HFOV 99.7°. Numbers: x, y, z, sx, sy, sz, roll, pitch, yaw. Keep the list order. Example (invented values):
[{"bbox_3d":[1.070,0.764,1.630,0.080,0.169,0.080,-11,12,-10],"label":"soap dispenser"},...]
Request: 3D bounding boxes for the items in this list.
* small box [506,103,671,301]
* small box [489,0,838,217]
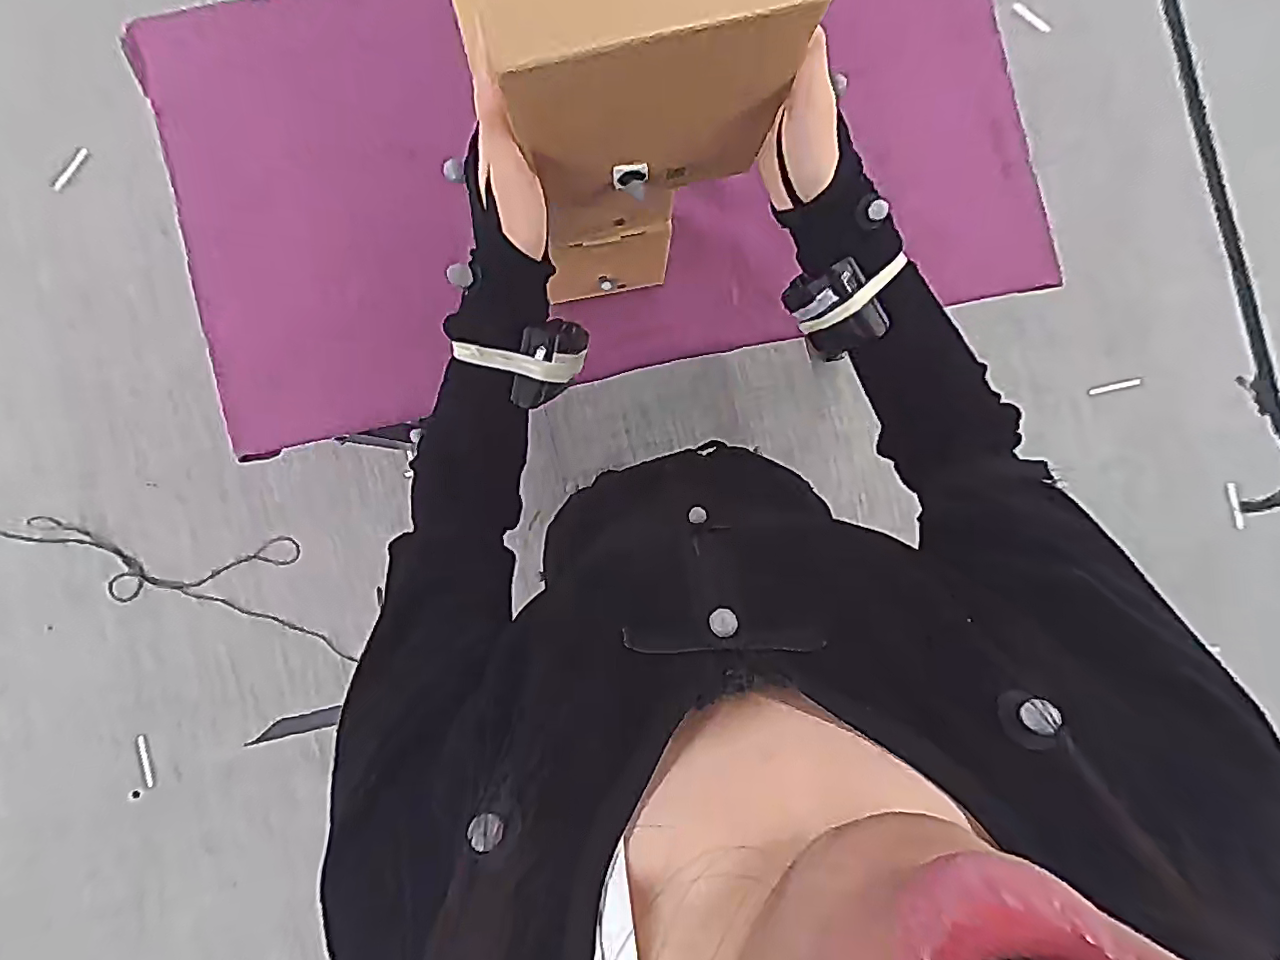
[{"bbox_3d":[-0.062,-0.356,0.697,0.168,0.176,0.179,-11,89,-1],"label":"small box"},{"bbox_3d":[-0.006,-0.295,0.330,0.168,0.176,0.179,-14,95,-1],"label":"small box"}]
